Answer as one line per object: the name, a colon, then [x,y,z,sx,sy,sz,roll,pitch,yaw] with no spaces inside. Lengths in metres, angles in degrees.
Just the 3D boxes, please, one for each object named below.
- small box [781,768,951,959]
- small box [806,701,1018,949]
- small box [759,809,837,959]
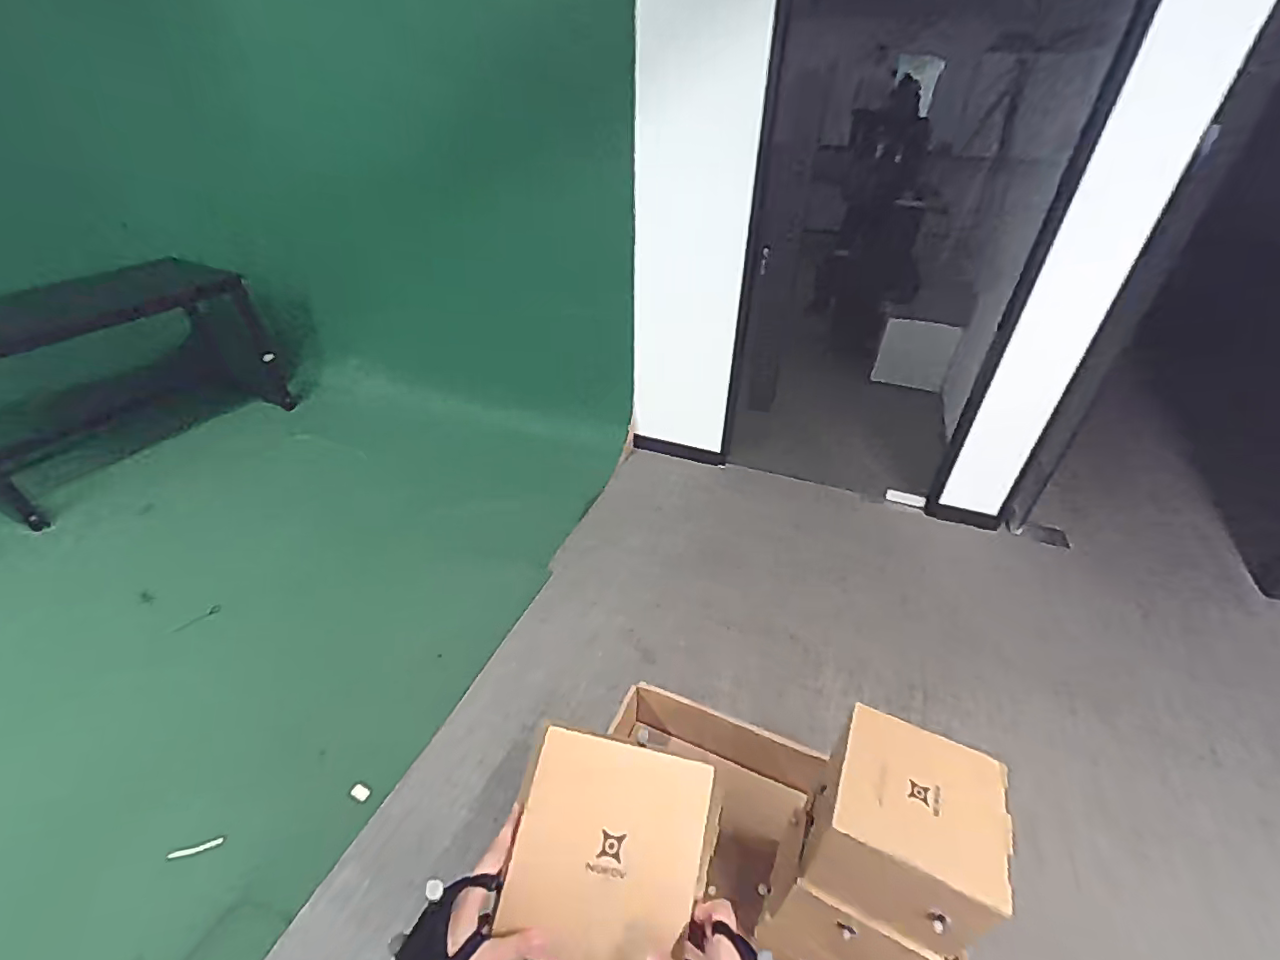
small box: [0.306,0.544,0.737,0.179,0.176,0.168,18,40,21]
small box: [0.316,0.410,0.645,0.179,0.176,0.168,17,39,22]
small box: [0.293,0.670,0.842,0.168,0.176,0.179,19,41,23]
